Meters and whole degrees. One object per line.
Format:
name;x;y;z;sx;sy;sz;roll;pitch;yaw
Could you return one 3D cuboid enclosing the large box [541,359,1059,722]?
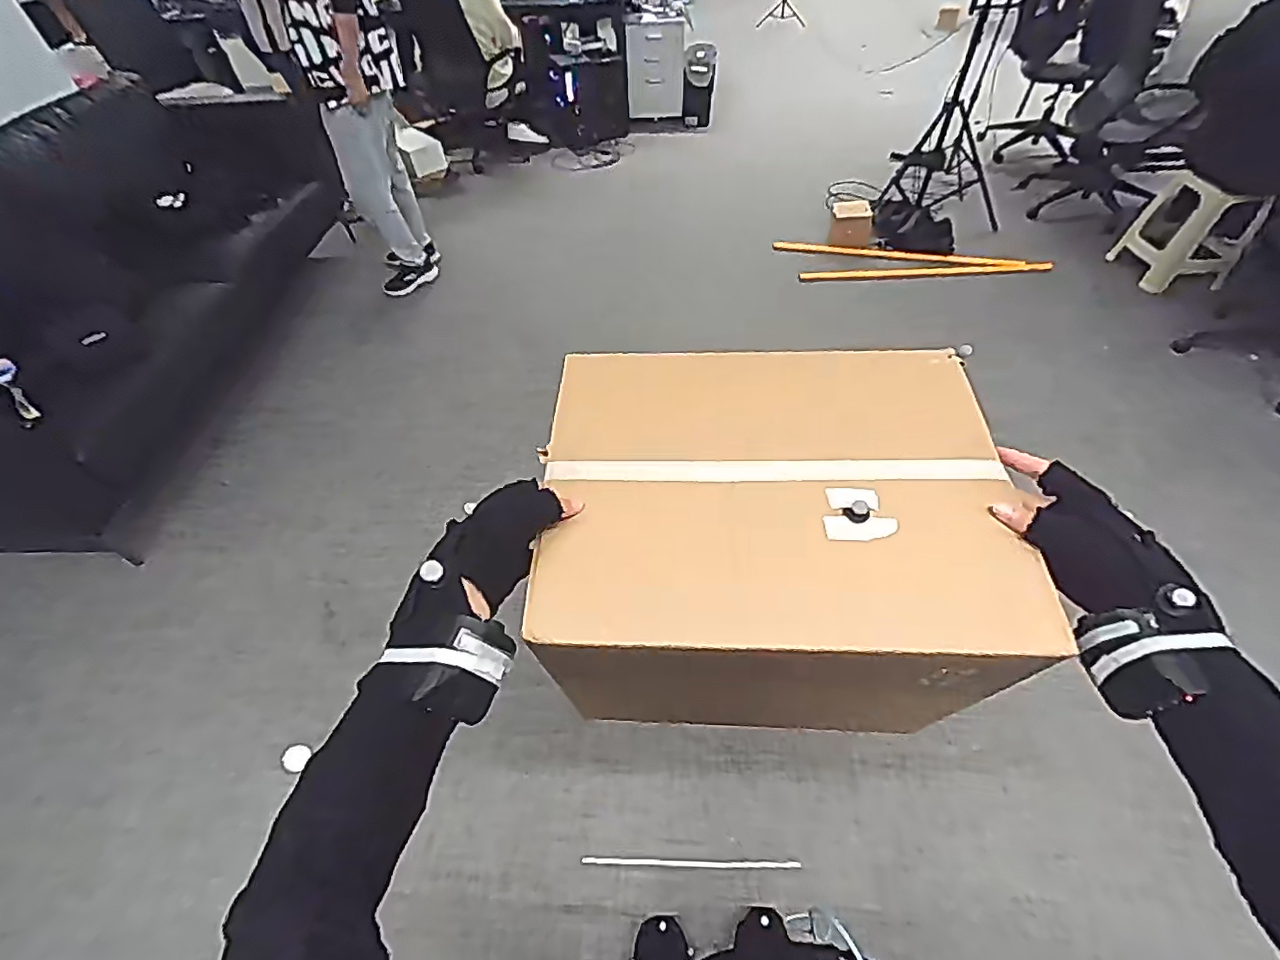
large box;0.126;0.082;0.618;0.408;0.320;0.320;0;56;3
